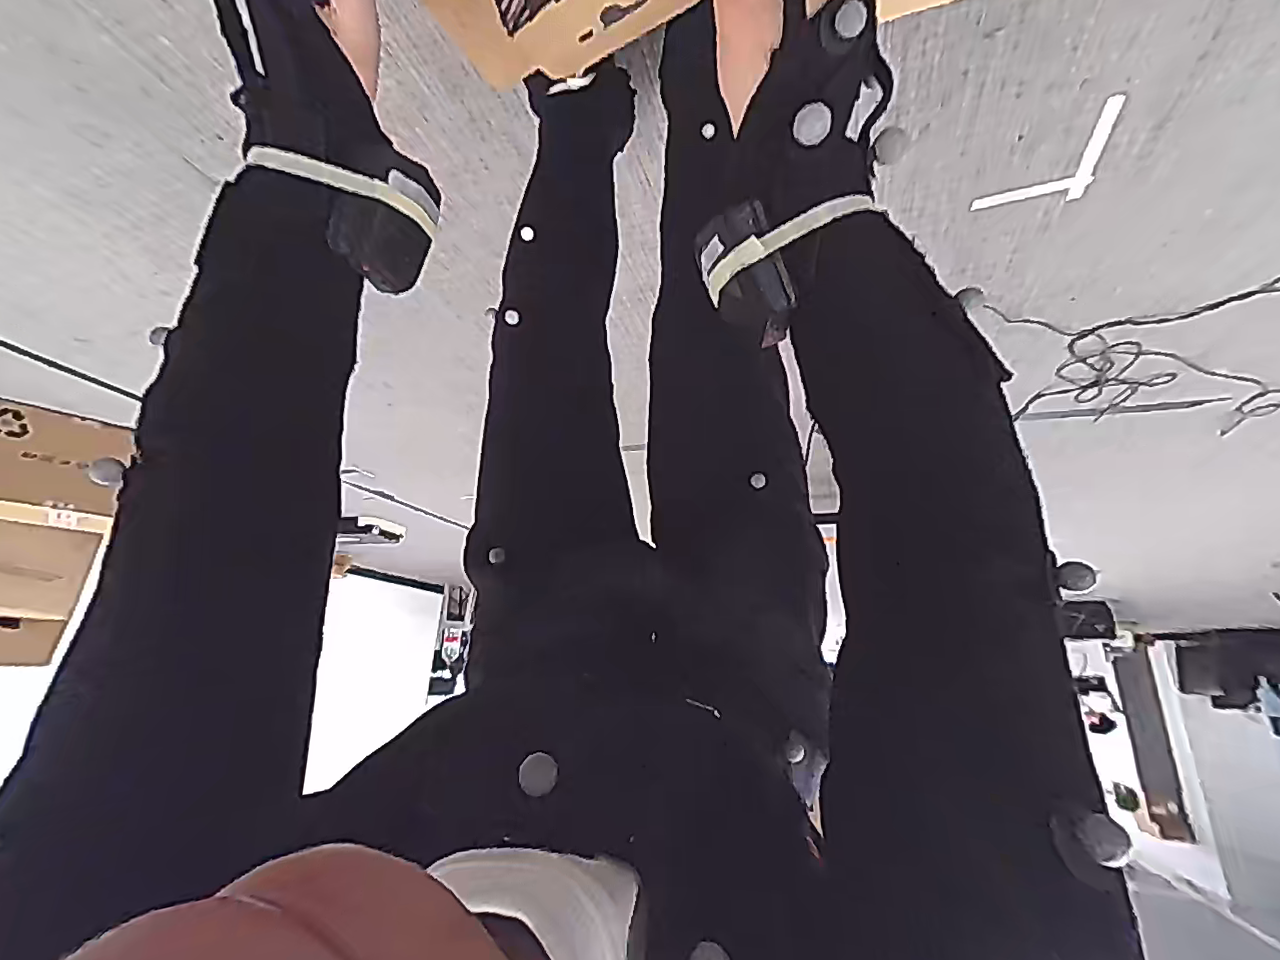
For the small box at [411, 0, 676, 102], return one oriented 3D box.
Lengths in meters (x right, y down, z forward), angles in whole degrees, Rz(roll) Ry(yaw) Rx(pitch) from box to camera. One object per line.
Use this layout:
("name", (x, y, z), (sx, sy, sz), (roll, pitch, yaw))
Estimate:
("small box", (-0.057, -0.342, 0.249), (0.168, 0.176, 0.179), (-11, 160, 26))
